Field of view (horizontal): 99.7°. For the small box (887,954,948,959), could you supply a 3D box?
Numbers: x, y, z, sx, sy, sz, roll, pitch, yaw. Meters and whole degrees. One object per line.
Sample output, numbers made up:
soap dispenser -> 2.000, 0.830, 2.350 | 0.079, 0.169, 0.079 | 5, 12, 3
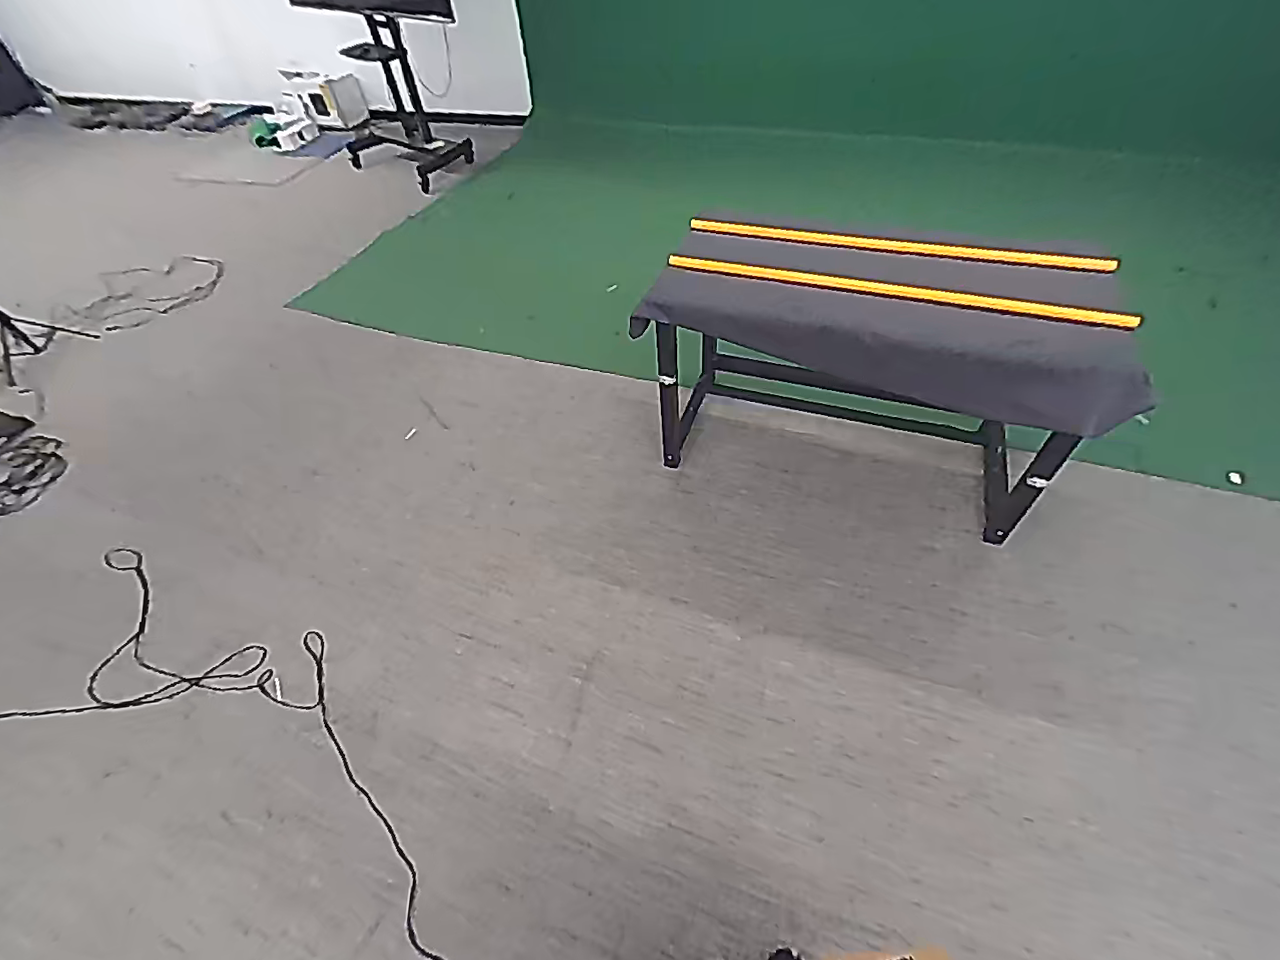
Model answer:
small box -> 0.330, 0.722, 0.634 | 0.168, 0.179, 0.176 | -11, 91, 5
